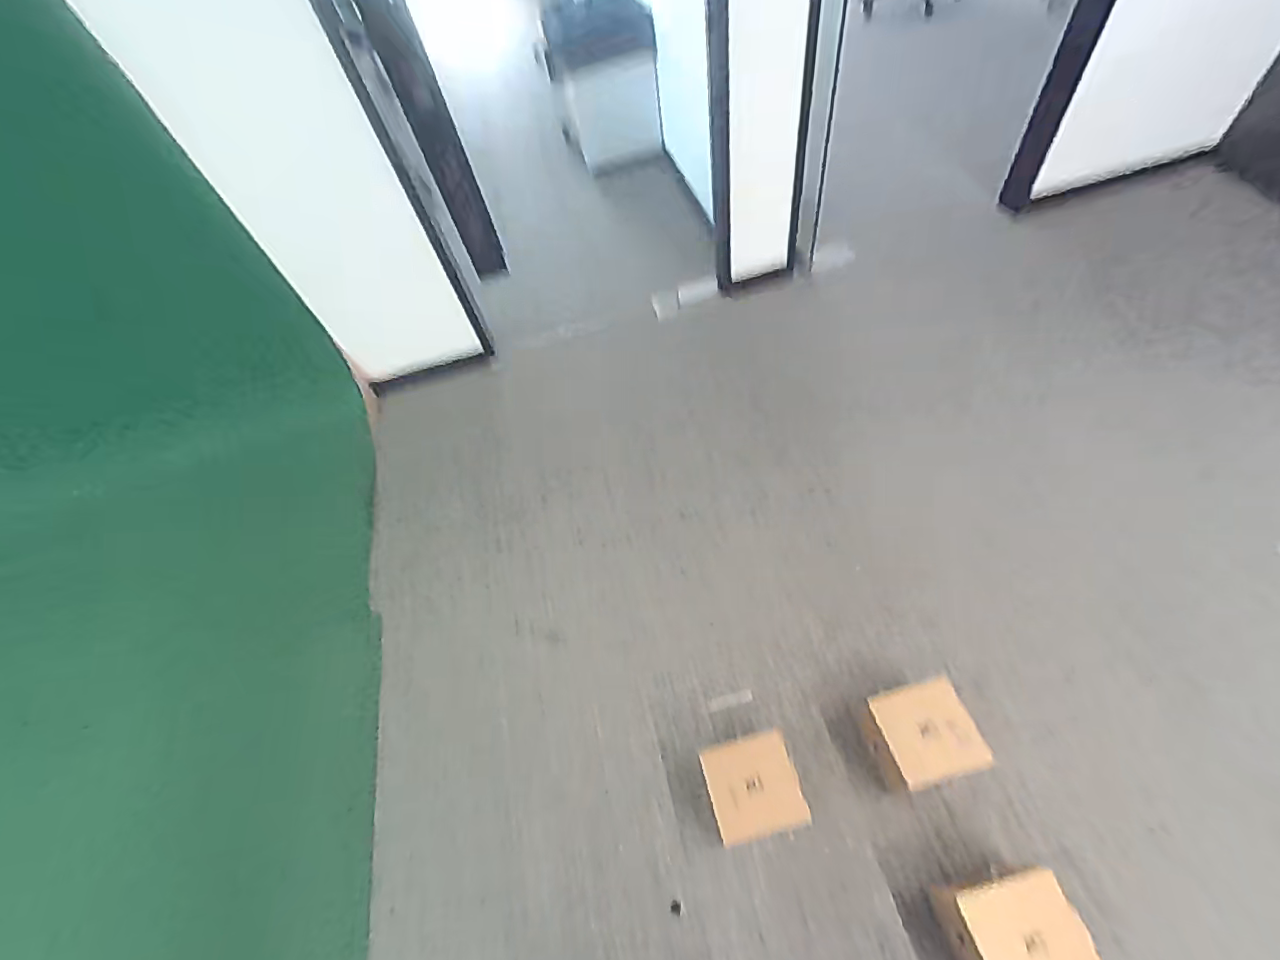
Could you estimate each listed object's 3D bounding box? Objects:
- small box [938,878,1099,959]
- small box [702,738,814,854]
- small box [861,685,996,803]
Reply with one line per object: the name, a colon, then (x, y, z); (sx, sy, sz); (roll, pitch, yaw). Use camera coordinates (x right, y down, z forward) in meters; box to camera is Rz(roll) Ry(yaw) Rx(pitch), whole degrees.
small box: (0.643, 0.805, 0.925); (0.179, 0.176, 0.168); (-16, 53, -2)
small box: (0.233, 0.649, 1.106); (0.179, 0.176, 0.168); (-15, 53, -1)
small box: (0.576, 0.549, 1.115); (0.179, 0.176, 0.168); (-16, 54, -2)
